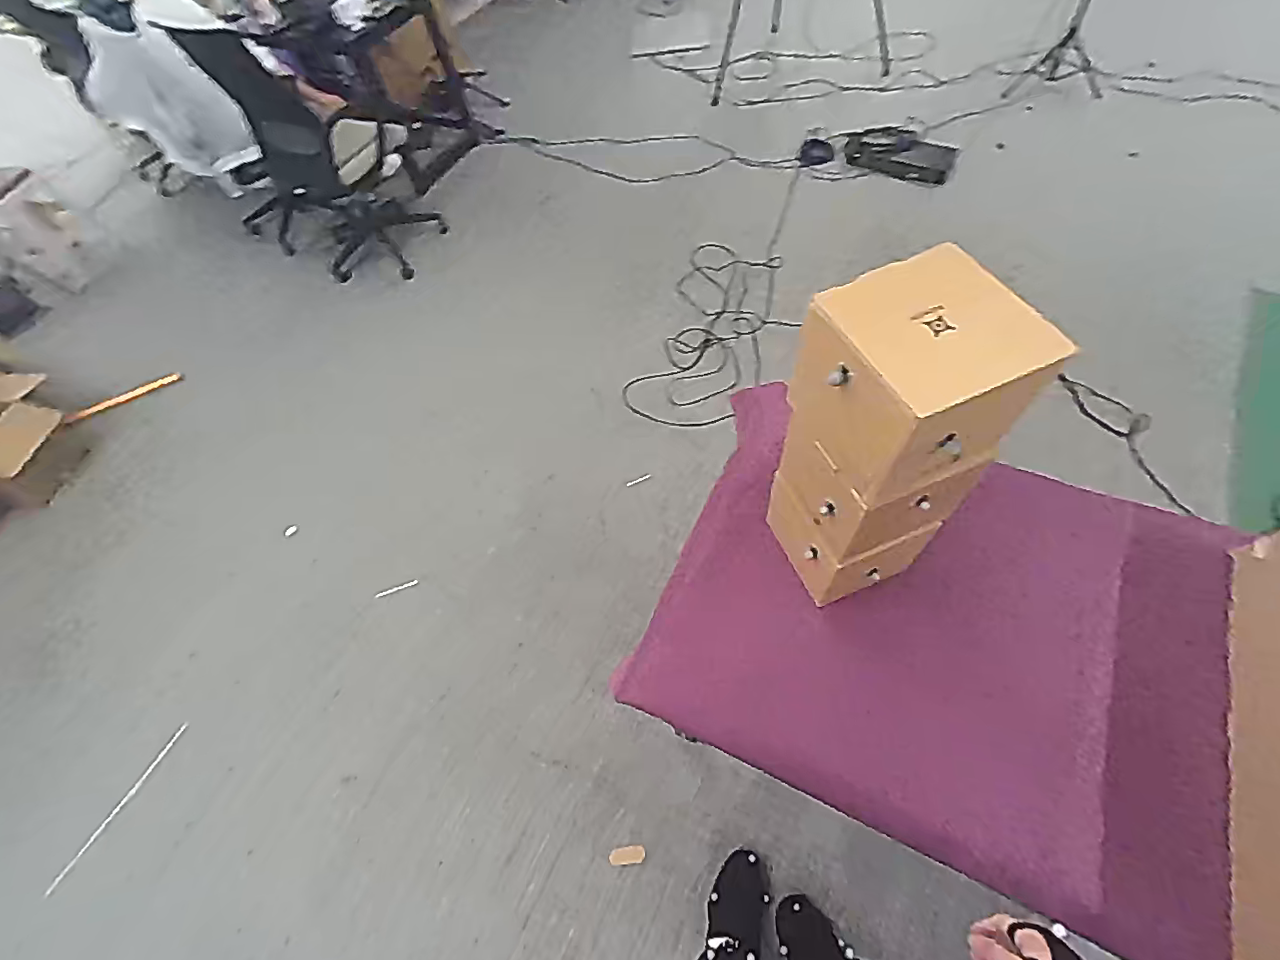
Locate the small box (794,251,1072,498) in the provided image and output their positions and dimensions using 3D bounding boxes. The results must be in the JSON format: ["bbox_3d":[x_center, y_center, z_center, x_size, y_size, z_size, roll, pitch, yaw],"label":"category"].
[{"bbox_3d":[0.286,-0.101,0.579,0.168,0.176,0.179,-22,59,-6],"label":"small box"}]

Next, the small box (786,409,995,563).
[{"bbox_3d":[0.307,-0.014,0.713,0.179,0.176,0.168,-20,59,-6],"label":"small box"}]

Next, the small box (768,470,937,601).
[{"bbox_3d":[0.318,0.073,0.851,0.168,0.176,0.179,-20,58,-6],"label":"small box"}]
